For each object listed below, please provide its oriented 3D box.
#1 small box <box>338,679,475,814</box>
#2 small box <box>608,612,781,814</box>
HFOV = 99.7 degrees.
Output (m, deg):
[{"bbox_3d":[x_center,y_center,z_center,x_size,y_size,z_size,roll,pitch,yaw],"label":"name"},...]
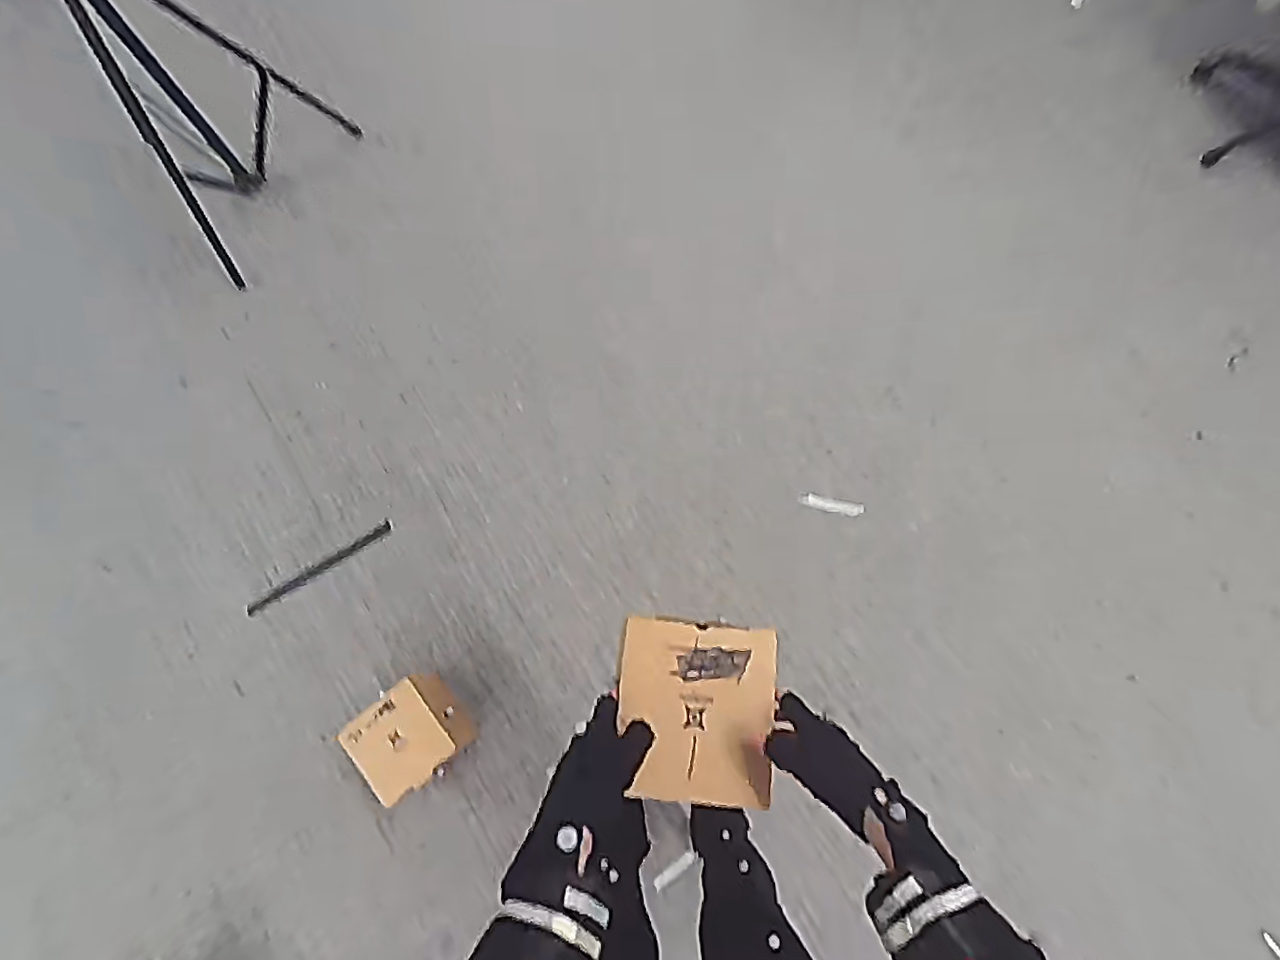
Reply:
[{"bbox_3d":[-0.469,0.535,1.118,0.168,0.176,0.179,-39,80,-12],"label":"small box"},{"bbox_3d":[0.054,0.254,0.621,0.168,0.176,0.179,7,73,-2],"label":"small box"}]
